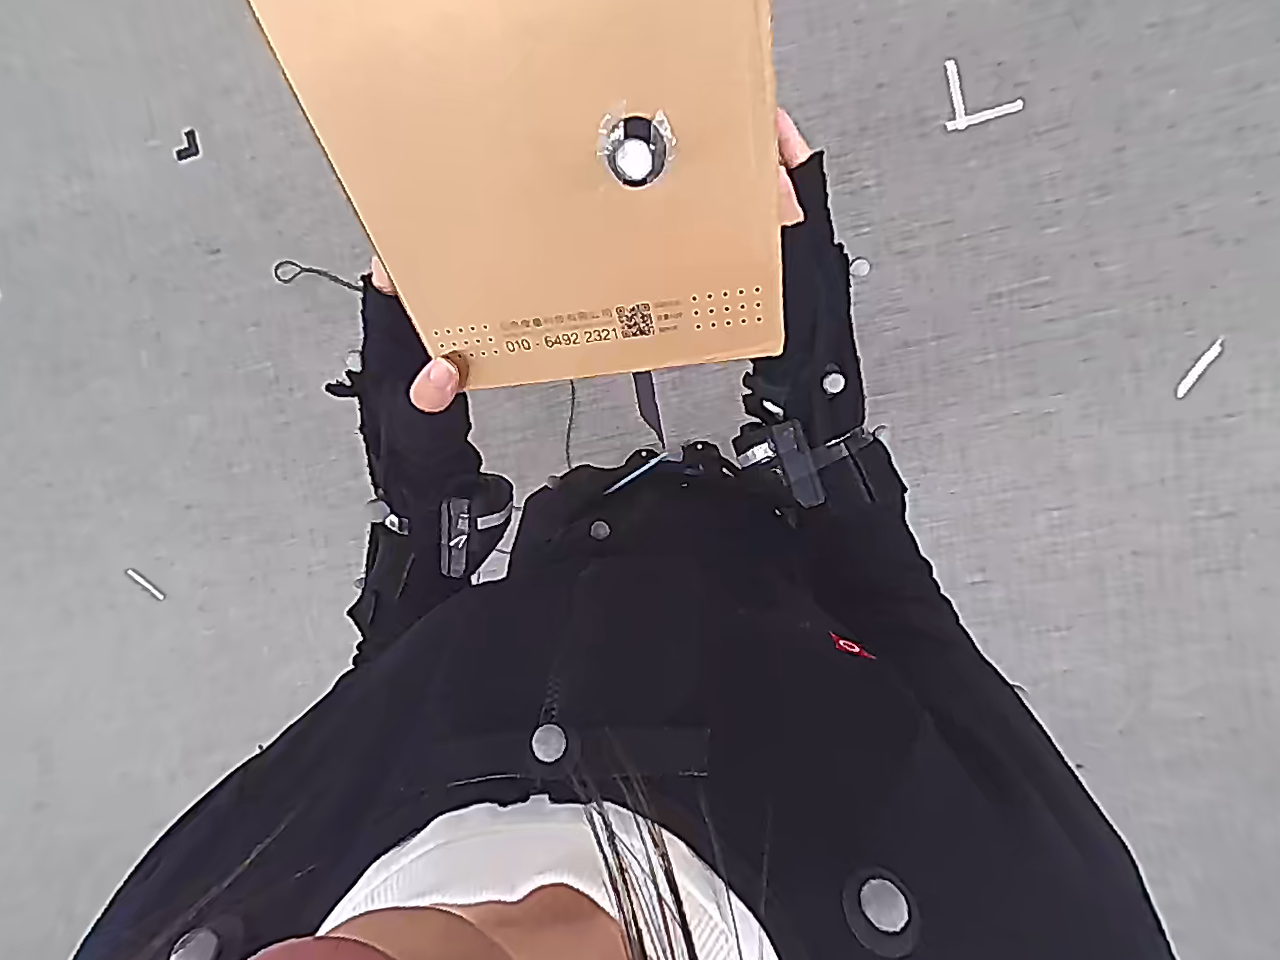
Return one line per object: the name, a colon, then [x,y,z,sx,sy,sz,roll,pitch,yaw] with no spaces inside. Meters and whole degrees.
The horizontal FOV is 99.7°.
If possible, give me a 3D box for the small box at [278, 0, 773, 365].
small box: [-0.020,-0.171,0.280,0.168,0.179,0.176,-3,132,14]
